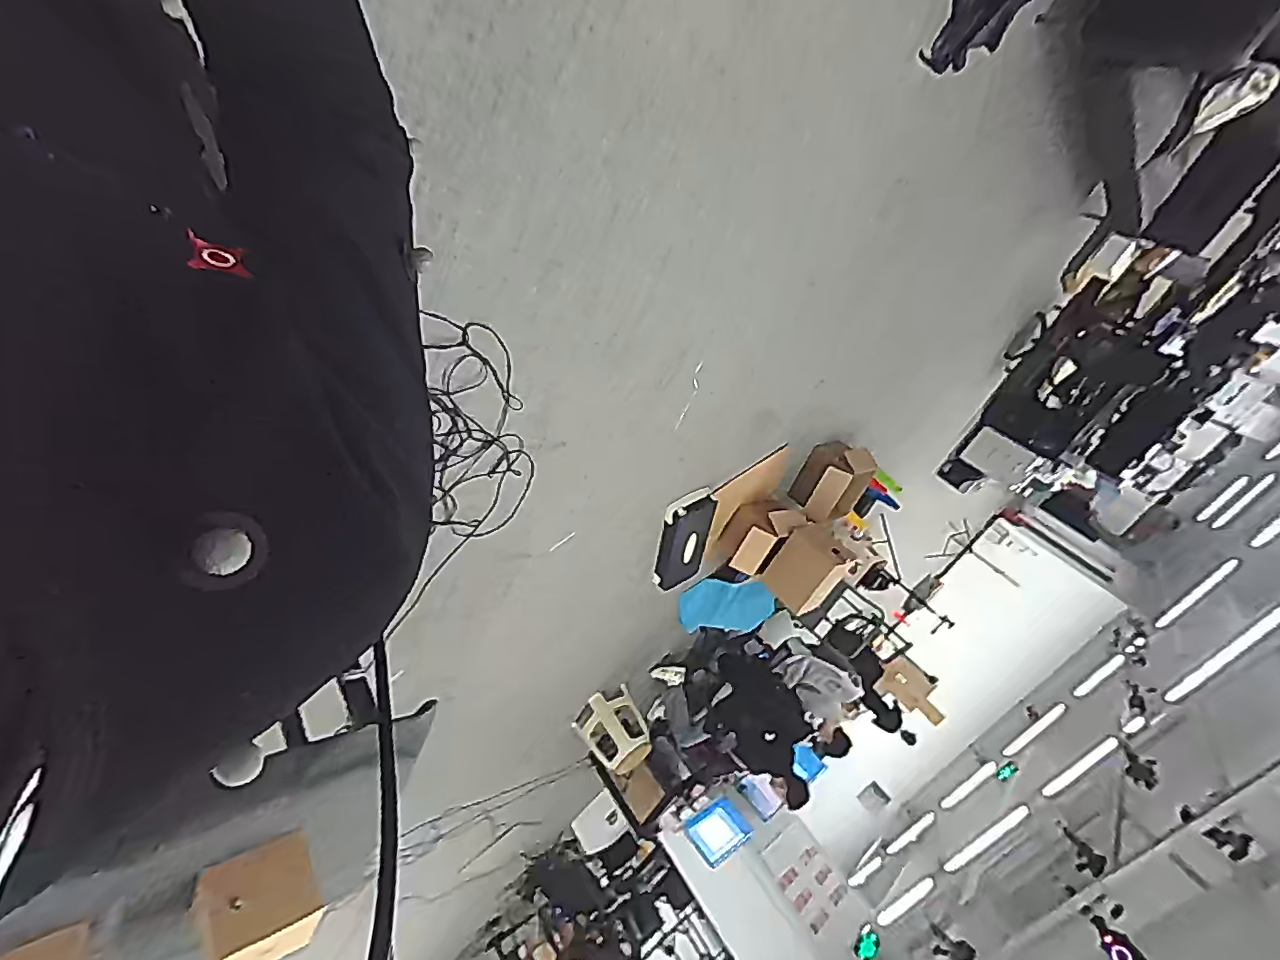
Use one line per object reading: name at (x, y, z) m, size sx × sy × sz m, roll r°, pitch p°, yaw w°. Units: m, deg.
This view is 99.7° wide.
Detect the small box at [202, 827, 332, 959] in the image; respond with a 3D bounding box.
small box at (-0.750, 0.848, 1.079) m, size 0.179 × 0.176 × 0.168 m, roll -2°, pitch 129°, yaw -48°
